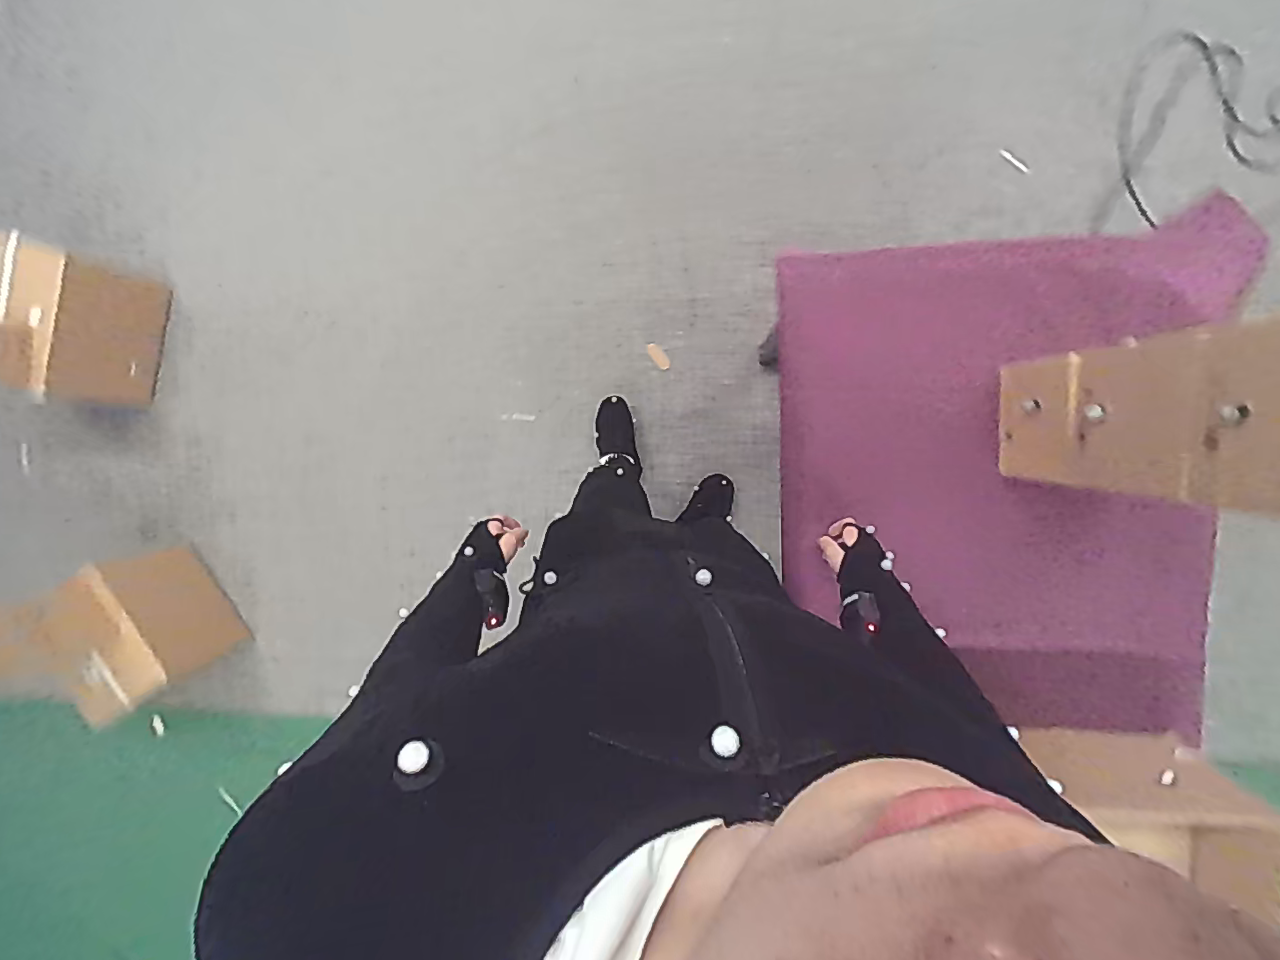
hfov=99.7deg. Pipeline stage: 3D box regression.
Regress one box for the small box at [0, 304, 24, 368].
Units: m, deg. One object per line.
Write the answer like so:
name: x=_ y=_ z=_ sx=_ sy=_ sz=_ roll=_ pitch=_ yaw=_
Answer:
small box: x=-1.749 y=-0.387 z=1.380 sx=0.179 sy=0.176 sz=0.168 roll=11 pitch=95 yaw=3

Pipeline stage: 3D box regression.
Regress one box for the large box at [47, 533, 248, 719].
large box: x=-1.557 y=0.433 z=1.681 sx=0.320 sy=0.320 sz=0.408 roll=-33 pitch=92 yaw=9

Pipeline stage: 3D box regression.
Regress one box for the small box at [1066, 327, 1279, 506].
small box: x=0.615 y=-0.064 z=0.581 sx=0.179 sy=0.176 sz=0.168 roll=3 pitch=95 yaw=6

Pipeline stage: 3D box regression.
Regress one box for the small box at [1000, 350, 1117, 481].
small box: x=0.629 y=-0.085 z=0.744 sx=0.179 sy=0.176 sz=0.168 roll=-2 pitch=95 yaw=6
